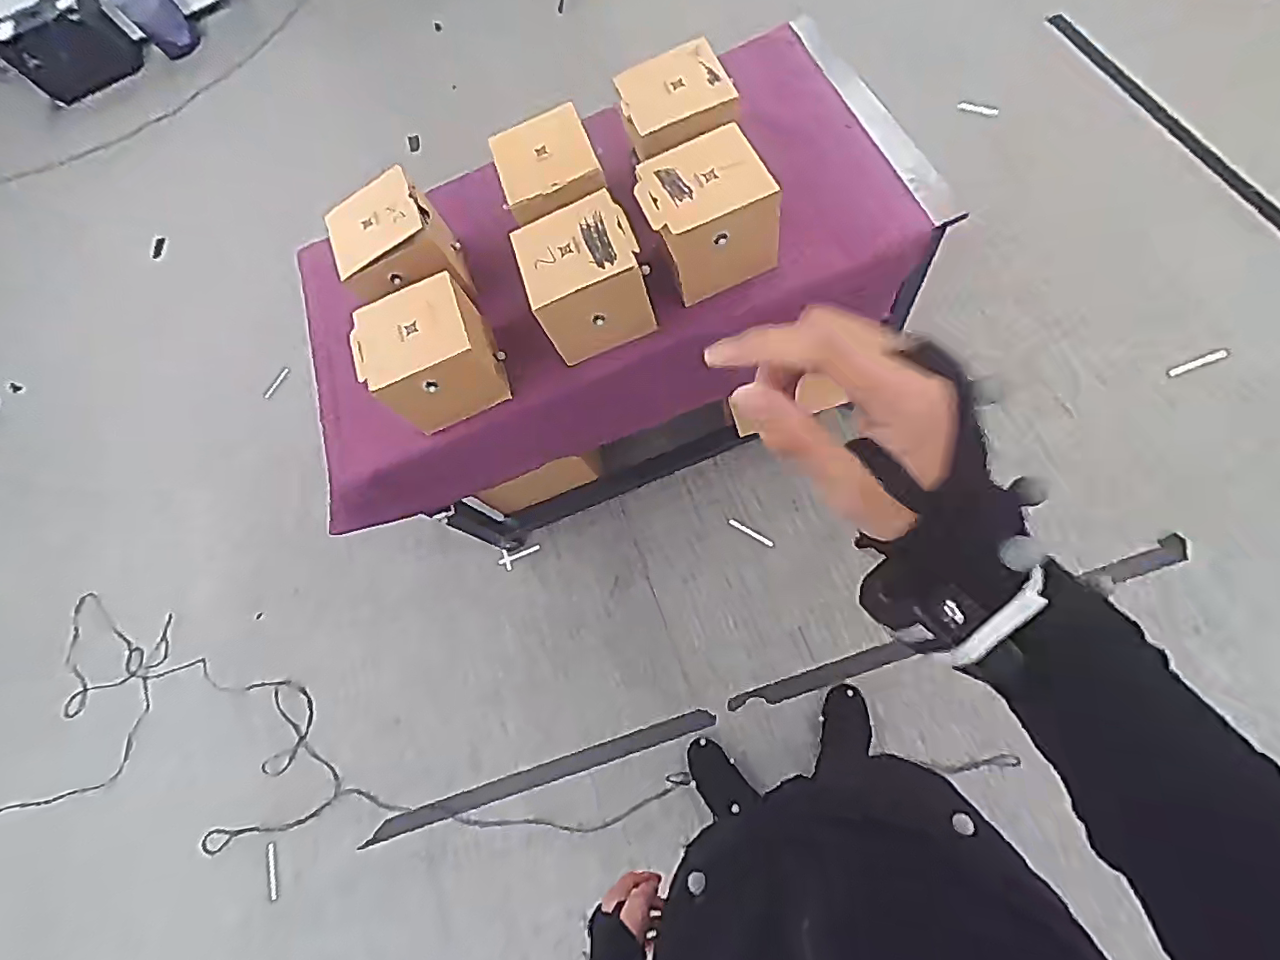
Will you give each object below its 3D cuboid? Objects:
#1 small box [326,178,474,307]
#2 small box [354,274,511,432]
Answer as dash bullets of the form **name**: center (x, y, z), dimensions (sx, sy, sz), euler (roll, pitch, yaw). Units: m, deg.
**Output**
- **small box**: center (-0.442, -0.410, 1.011), dimensions (0.179, 0.176, 0.168), euler (-25, 69, 2)
- **small box**: center (-0.348, -0.206, 0.924), dimensions (0.179, 0.176, 0.168), euler (-23, 69, 3)
